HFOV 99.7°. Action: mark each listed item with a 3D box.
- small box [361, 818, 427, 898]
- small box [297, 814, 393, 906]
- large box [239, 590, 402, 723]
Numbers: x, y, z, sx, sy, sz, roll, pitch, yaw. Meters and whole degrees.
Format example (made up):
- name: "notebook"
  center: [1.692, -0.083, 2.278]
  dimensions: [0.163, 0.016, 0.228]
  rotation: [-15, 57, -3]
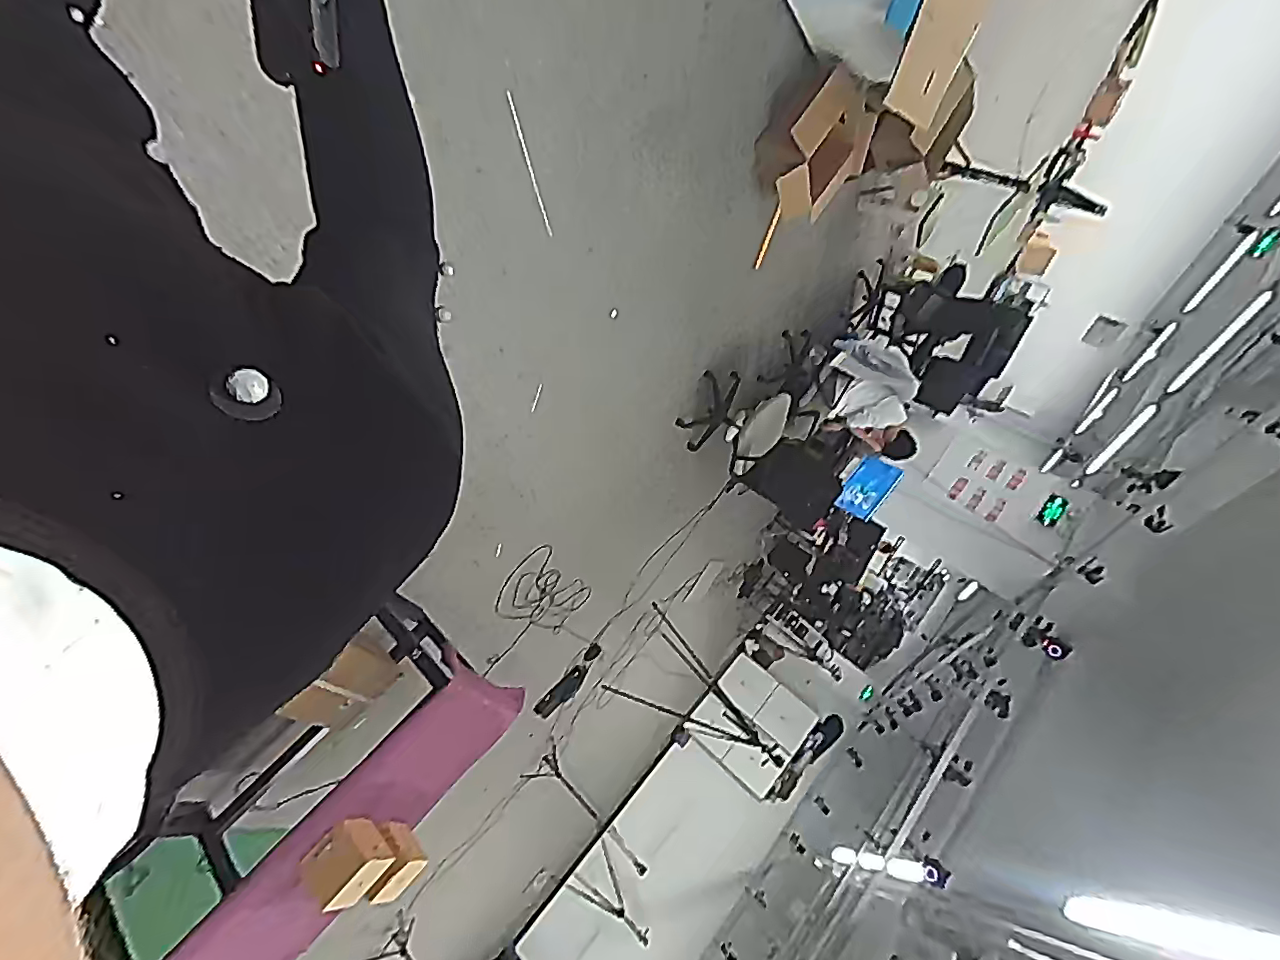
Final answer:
- name: "small box"
  center: [-0.900, 1.336, 1.920]
  dimensions: [0.168, 0.176, 0.179]
  rotation: [-43, 151, -20]
- name: "small box"
  center: [-0.923, 1.181, 1.694]
  dimensions: [0.168, 0.176, 0.179]
  rotation: [-45, 153, -20]
- name: "large box"
  center: [-1.229, 0.692, 2.108]
  dimensions: [0.320, 0.320, 0.408]
  rotation: [-44, 153, -18]
